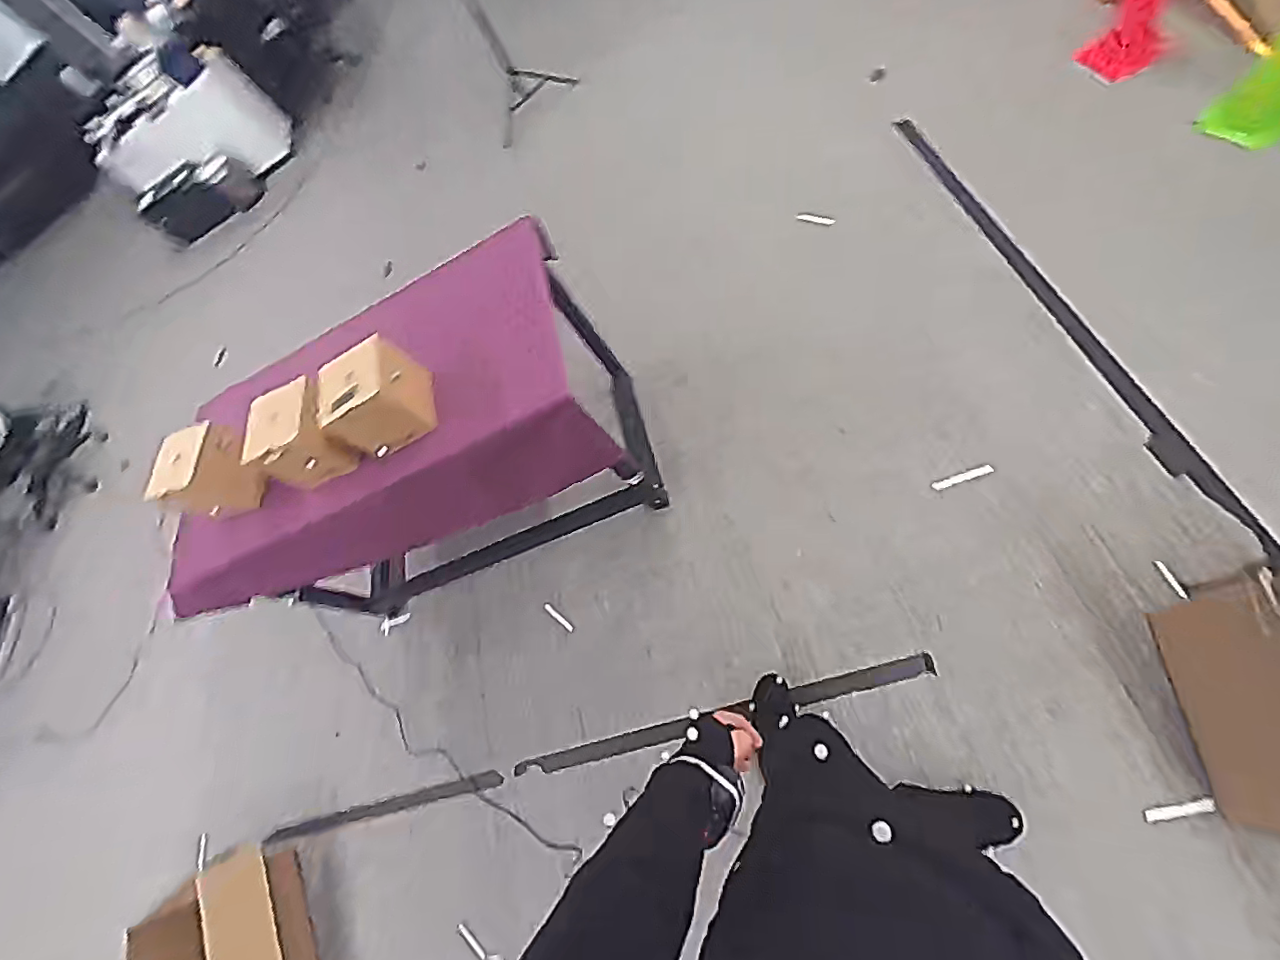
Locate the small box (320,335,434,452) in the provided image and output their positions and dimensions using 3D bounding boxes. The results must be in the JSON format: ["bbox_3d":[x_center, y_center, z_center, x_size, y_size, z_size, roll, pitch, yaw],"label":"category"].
[{"bbox_3d":[-0.591,-0.184,1.227,0.168,0.176,0.179,-26,60,12],"label":"small box"}]

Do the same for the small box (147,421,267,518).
[{"bbox_3d":[-1.083,-0.021,1.373,0.168,0.176,0.179,-13,65,19],"label":"small box"}]

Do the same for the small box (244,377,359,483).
[{"bbox_3d":[-0.790,-0.107,1.284,0.168,0.176,0.179,-19,62,15],"label":"small box"}]
